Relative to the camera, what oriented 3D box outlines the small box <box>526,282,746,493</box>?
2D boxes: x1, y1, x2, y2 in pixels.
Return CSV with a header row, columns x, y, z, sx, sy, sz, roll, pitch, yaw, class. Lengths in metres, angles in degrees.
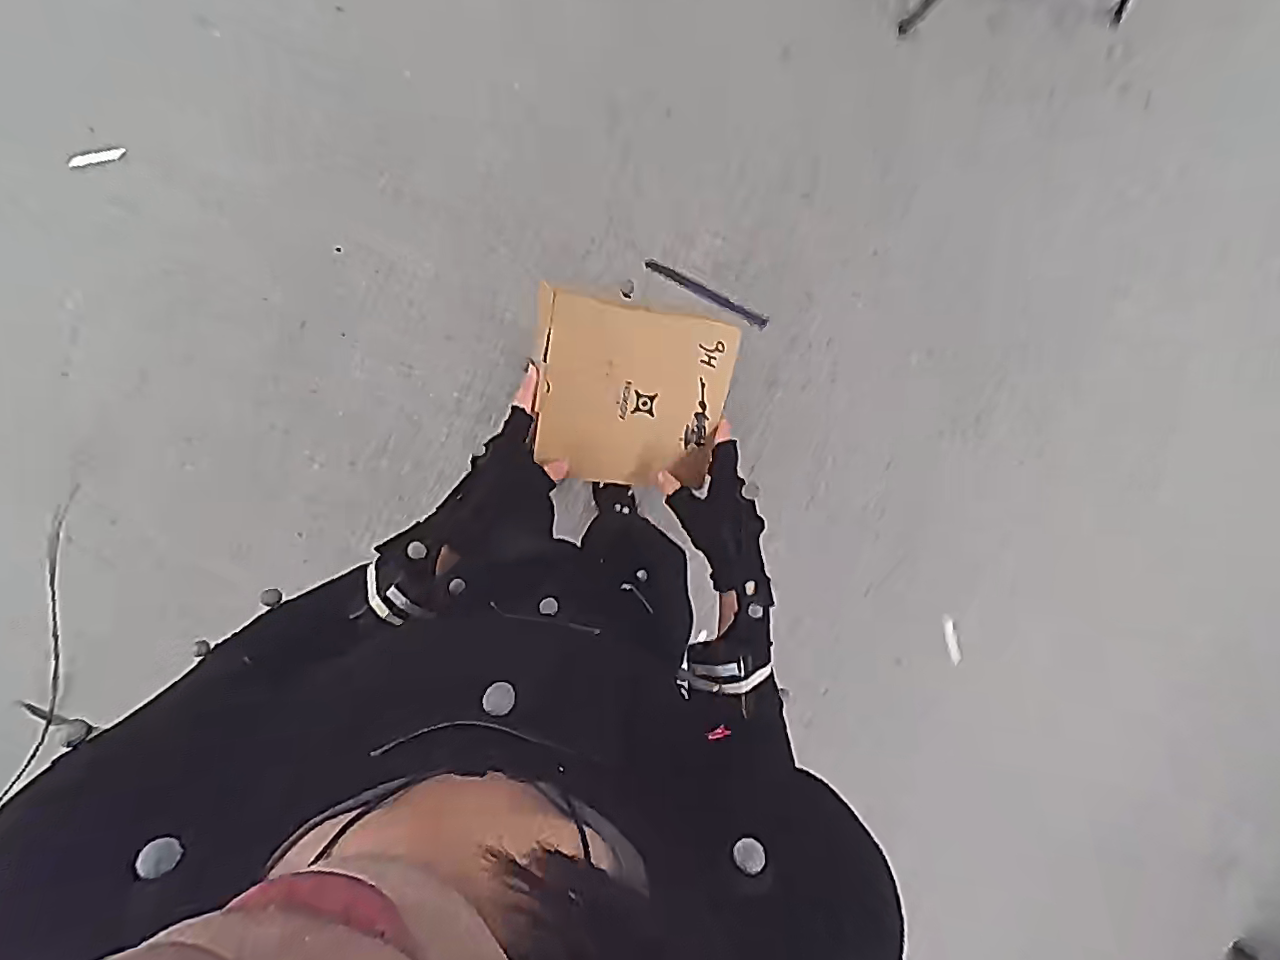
x,y,z,sx,sy,sz,roll,pitch,yaw,class
-0.021,-0.102,0.552,0.179,0.176,0.168,5,112,-16,small box
